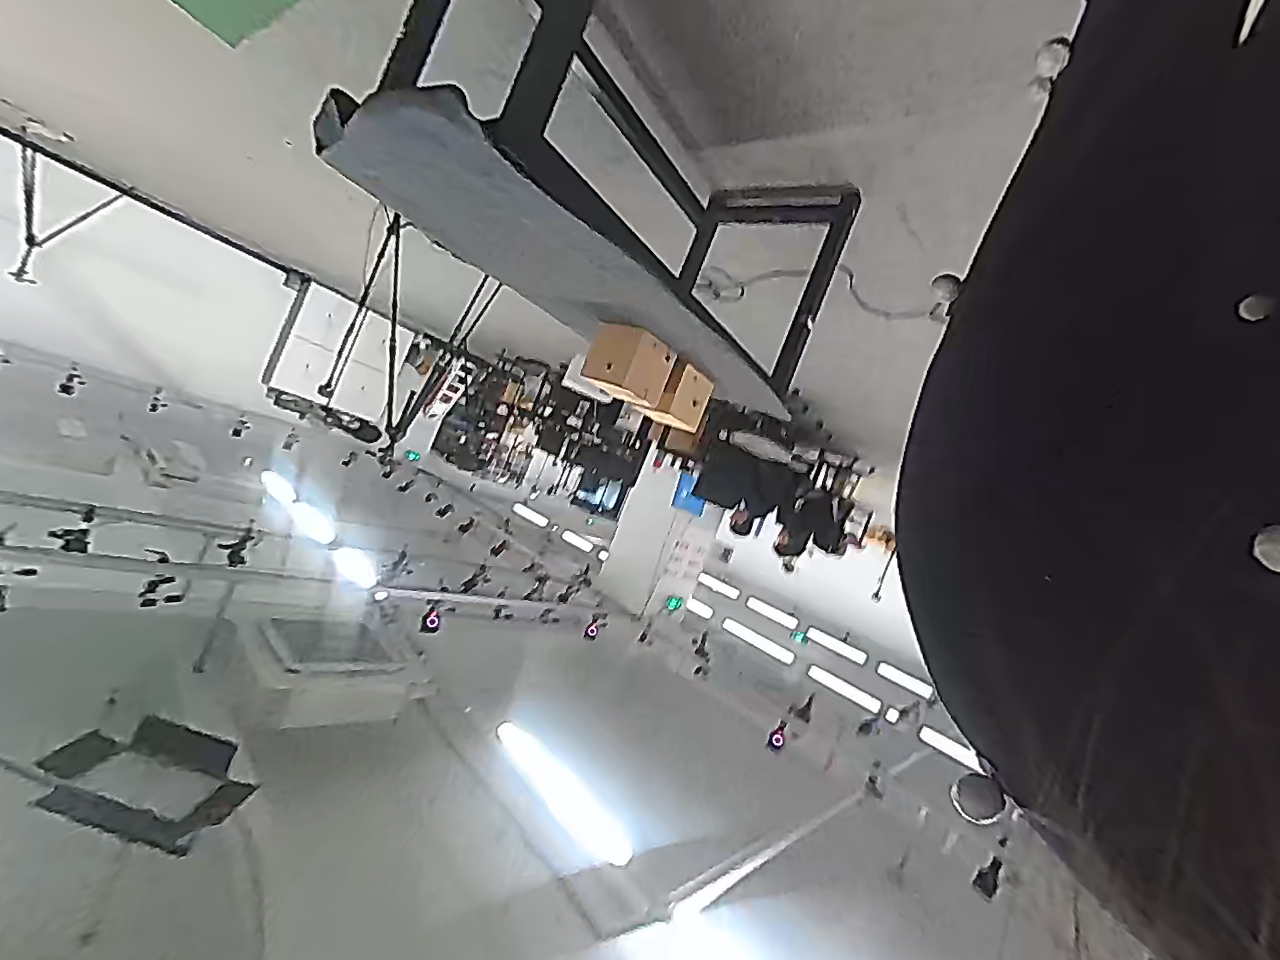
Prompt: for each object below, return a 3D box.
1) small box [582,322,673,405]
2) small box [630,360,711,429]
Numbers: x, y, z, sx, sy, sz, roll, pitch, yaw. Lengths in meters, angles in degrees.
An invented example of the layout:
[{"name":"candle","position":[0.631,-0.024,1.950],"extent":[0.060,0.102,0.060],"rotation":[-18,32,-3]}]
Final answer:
[{"name":"small box","position":[-0.028,-0.330,1.527],"extent":[0.179,0.176,0.168],"rotation":[23,180,39]},{"name":"small box","position":[0.104,-0.279,1.699],"extent":[0.179,0.176,0.168],"rotation":[22,180,40]}]
